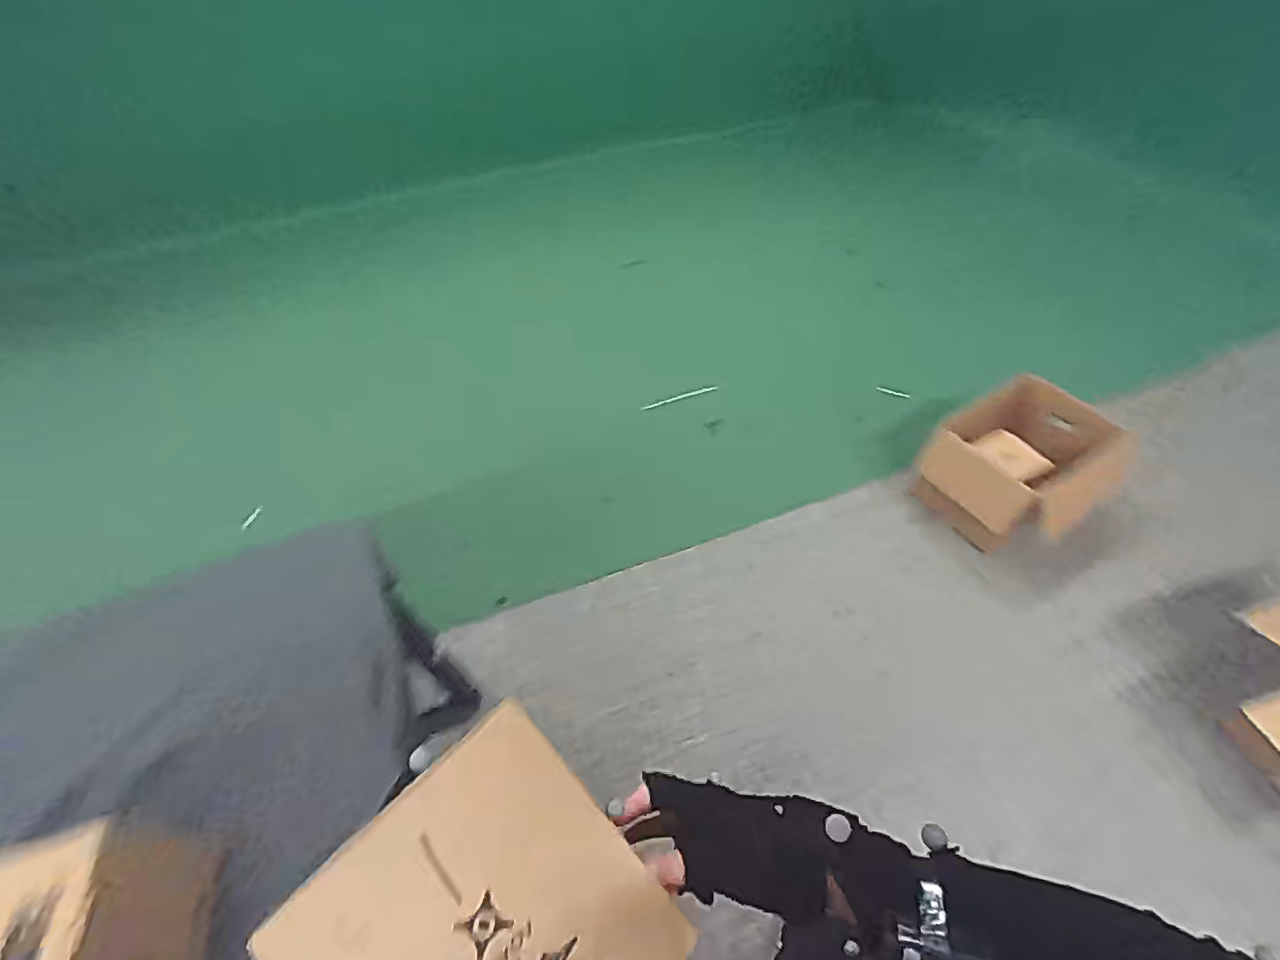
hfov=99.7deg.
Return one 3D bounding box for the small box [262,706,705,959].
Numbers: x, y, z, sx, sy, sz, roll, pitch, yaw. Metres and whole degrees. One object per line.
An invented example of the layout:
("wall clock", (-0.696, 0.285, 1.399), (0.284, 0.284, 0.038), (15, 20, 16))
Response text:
("small box", (-0.092, 0.273, 0.361), (0.168, 0.176, 0.179), (-38, 82, -23))
